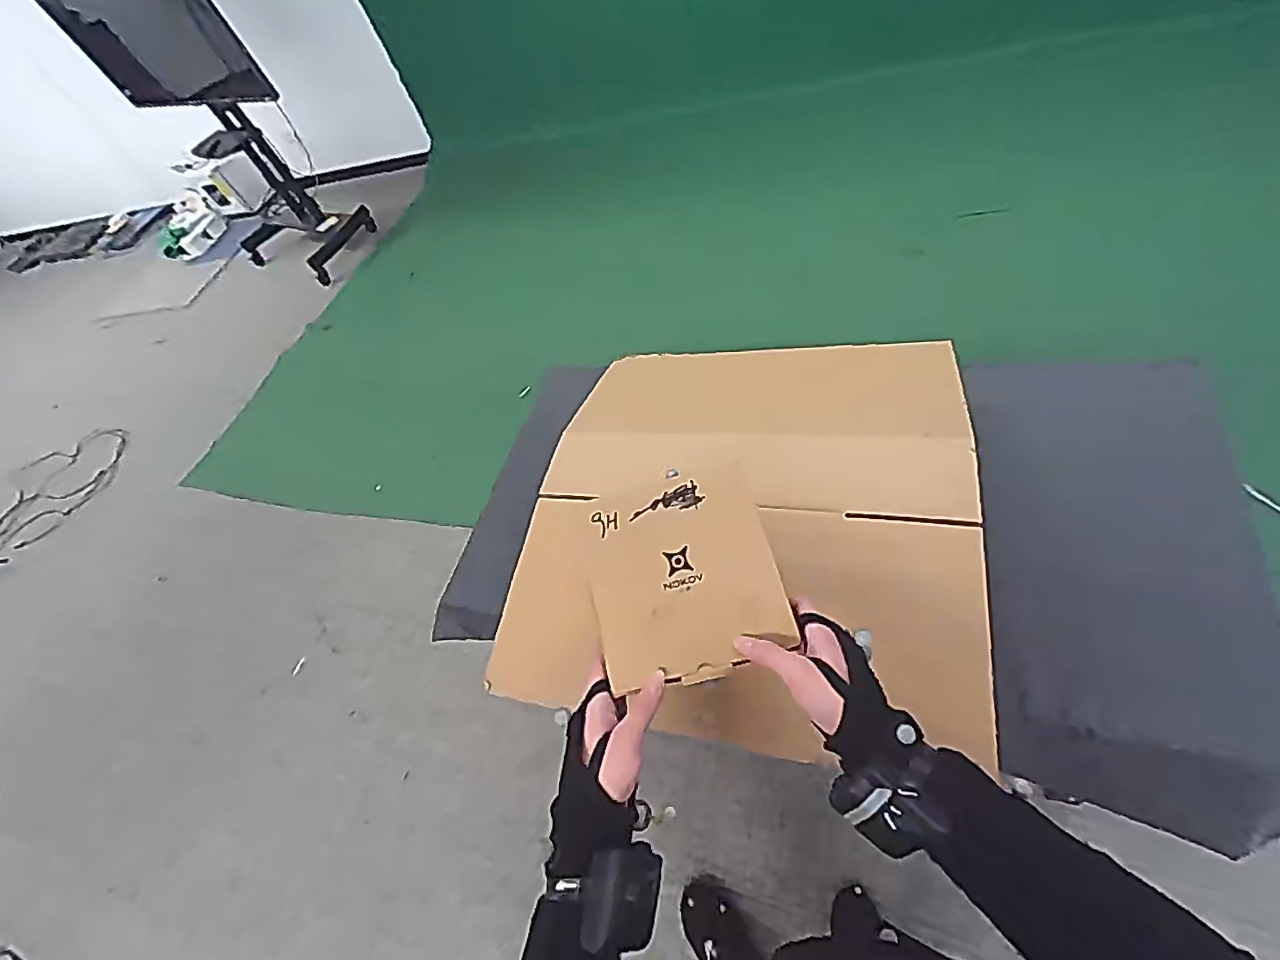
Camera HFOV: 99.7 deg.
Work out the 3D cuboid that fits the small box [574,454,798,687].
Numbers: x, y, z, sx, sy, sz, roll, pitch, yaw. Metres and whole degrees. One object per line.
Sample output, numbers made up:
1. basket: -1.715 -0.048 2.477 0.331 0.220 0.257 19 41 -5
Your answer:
1. small box: 0.048 0.100 0.561 0.168 0.176 0.179 -18 70 2
